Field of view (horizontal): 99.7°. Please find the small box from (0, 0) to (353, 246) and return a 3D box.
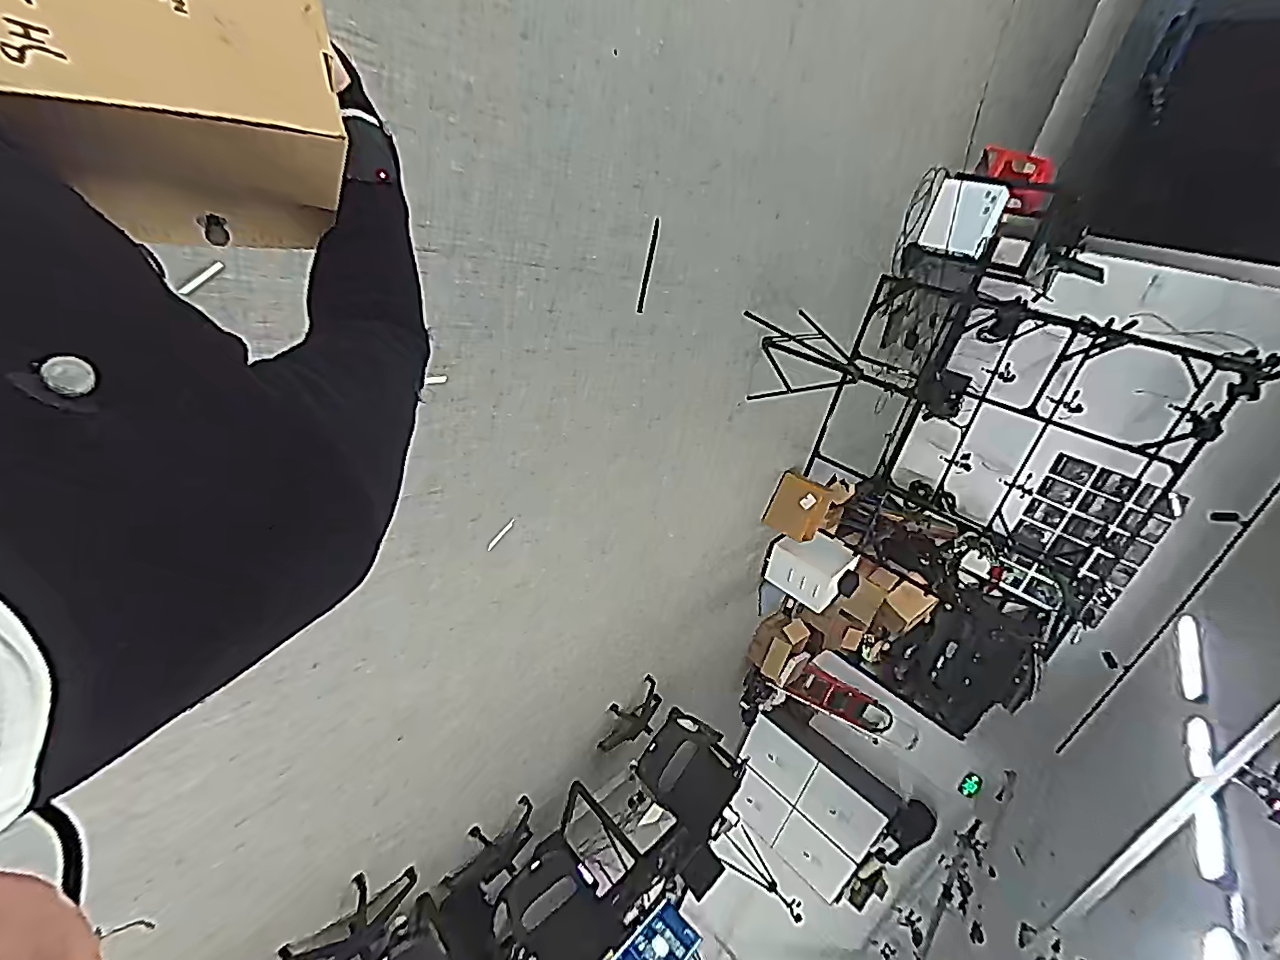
[{"bbox_3d":[-0.339,-0.294,0.407,0.179,0.176,0.168,-14,91,-34],"label":"small box"}]
